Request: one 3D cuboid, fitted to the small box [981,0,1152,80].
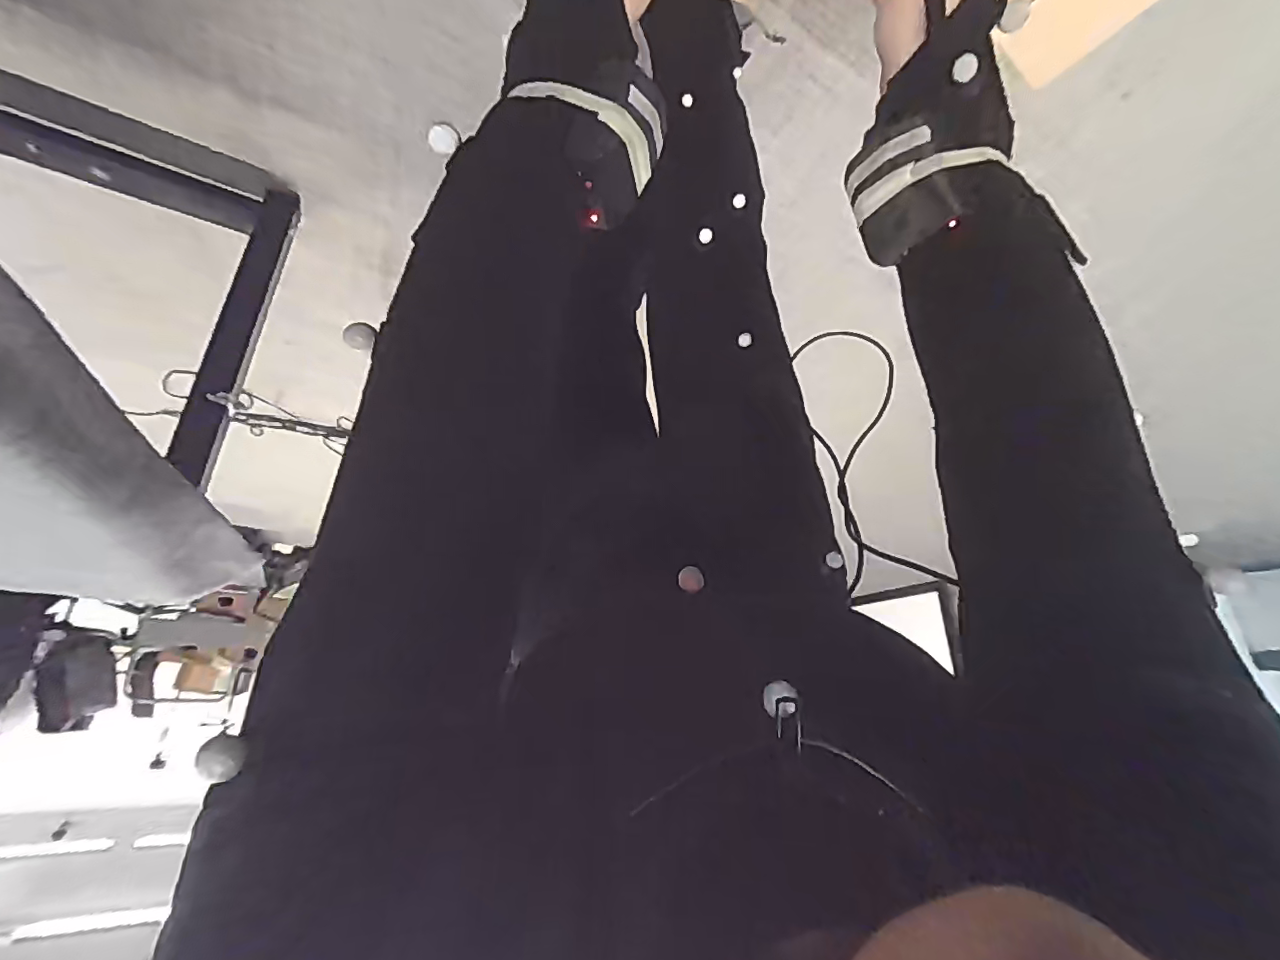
[{"bbox_3d":[0.359,-0.492,0.429,0.168,0.176,0.179,16,154,-29],"label":"small box"}]
